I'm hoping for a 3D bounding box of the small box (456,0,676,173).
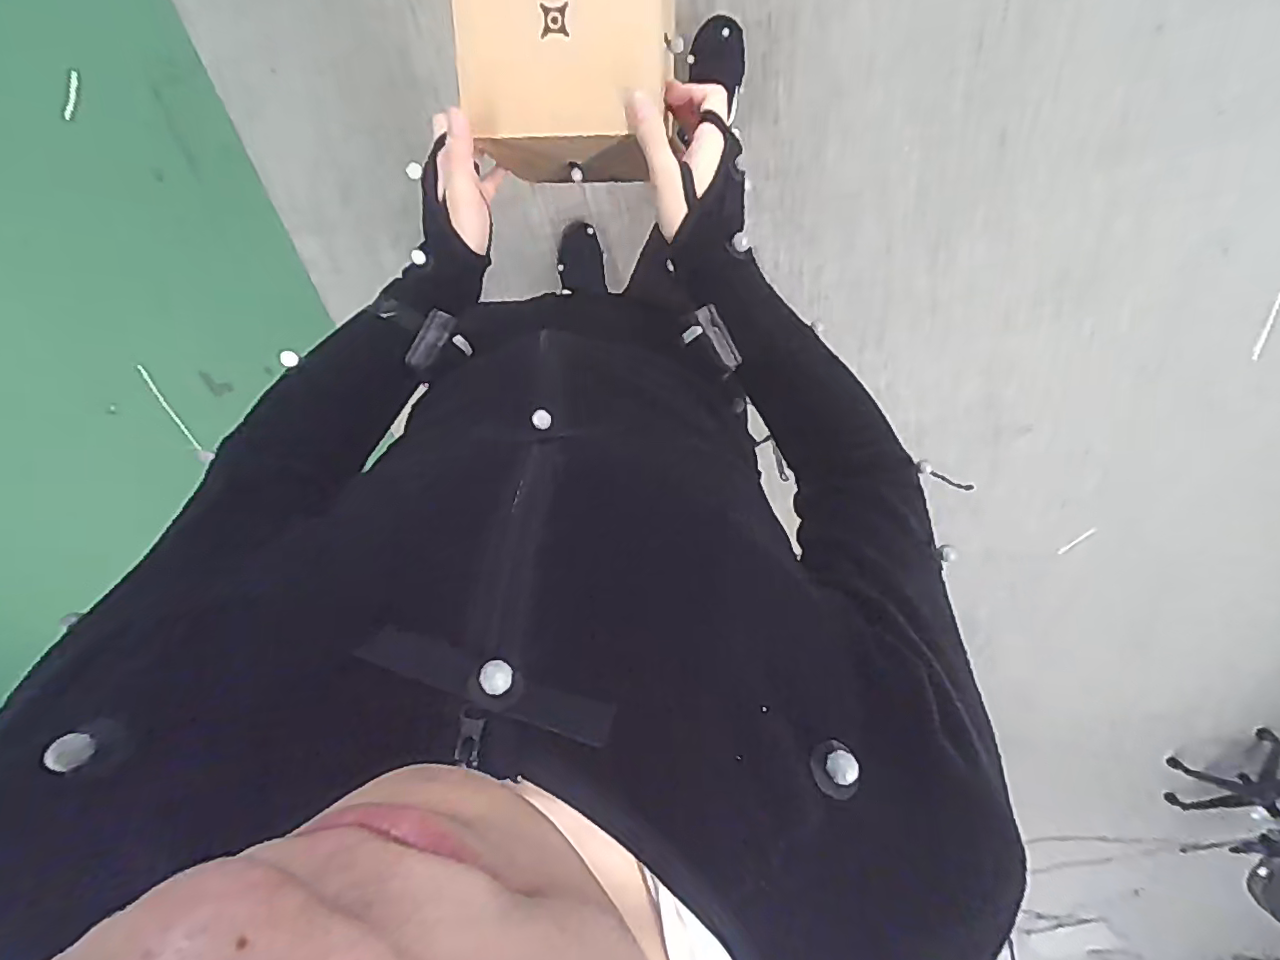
[{"bbox_3d":[-0.054,-0.392,0.492,0.168,0.176,0.179,3,108,5],"label":"small box"}]
